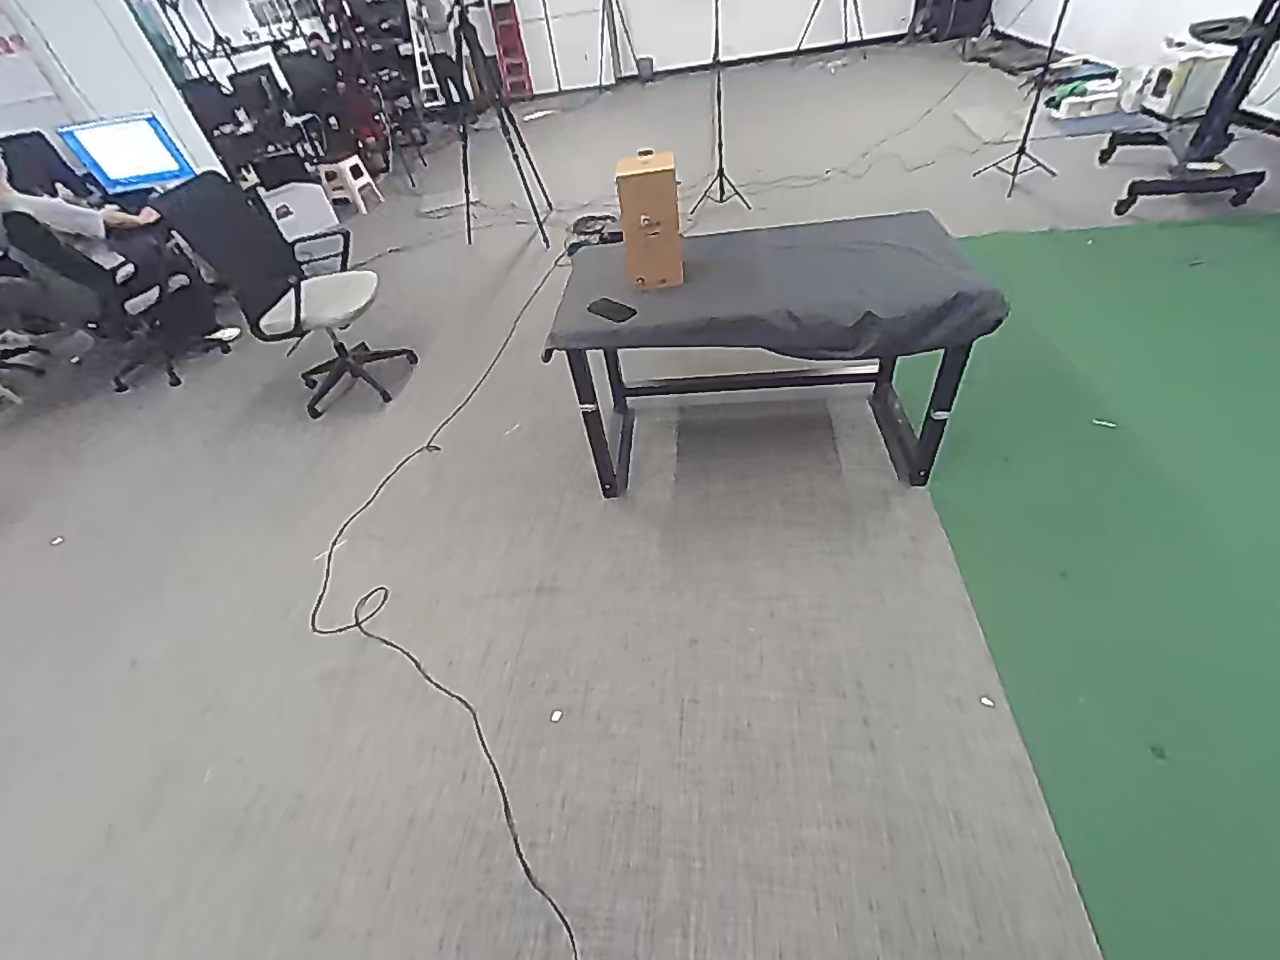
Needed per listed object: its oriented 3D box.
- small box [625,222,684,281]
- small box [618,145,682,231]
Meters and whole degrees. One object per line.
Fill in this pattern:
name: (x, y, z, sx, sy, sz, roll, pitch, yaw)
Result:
small box: (0.050, -0.732, 1.685, 0.168, 0.176, 0.179, -4, 44, 6)
small box: (0.033, -0.847, 1.572, 0.168, 0.176, 0.179, -5, 46, 6)
